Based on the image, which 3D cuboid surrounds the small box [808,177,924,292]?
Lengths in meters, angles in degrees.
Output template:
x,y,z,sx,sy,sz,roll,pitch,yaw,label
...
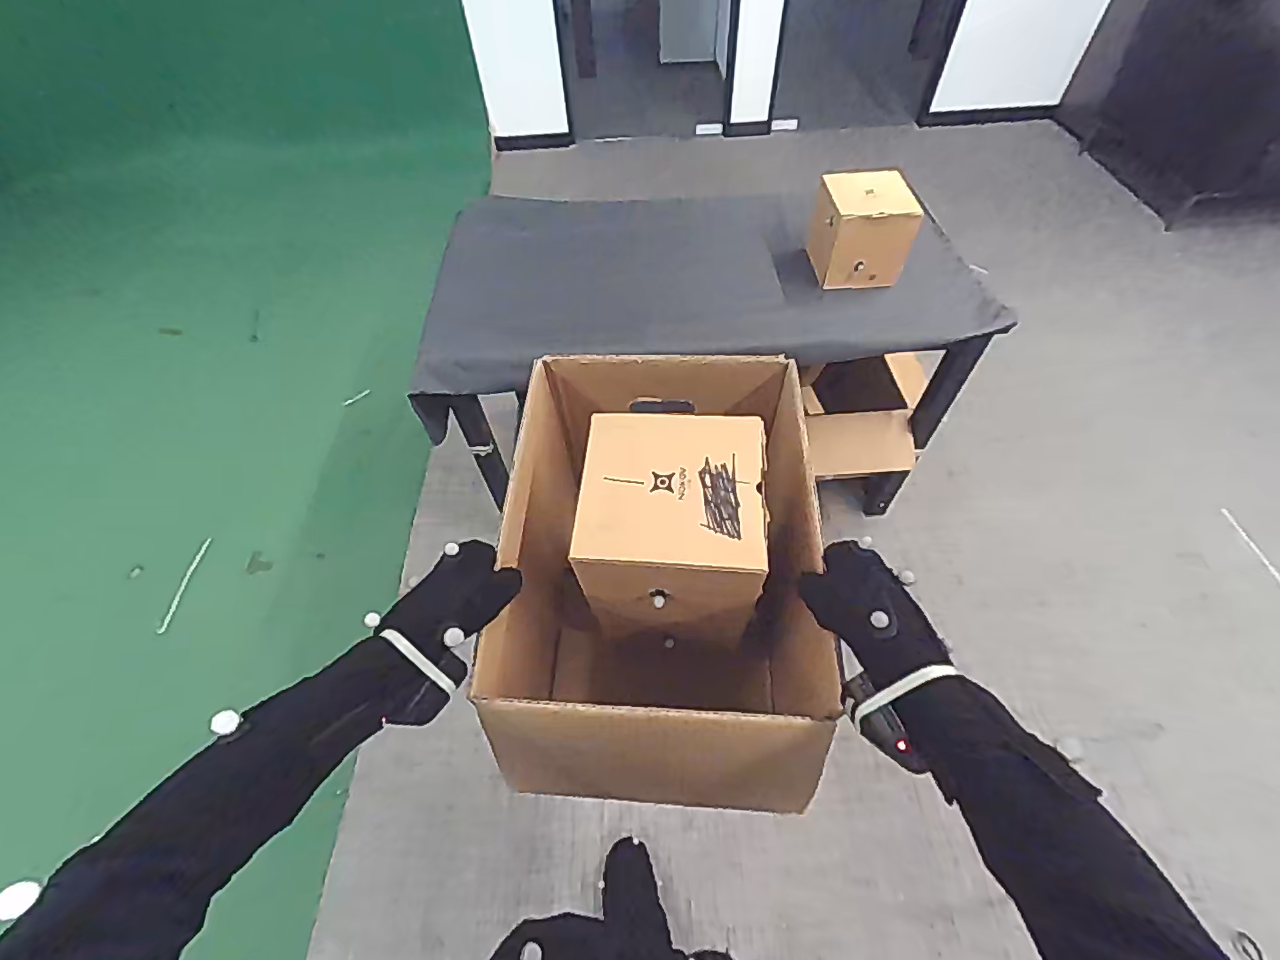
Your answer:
x,y,z,sx,sy,sz,roll,pitch,yaw,label
0.478,-0.533,1.177,0.168,0.176,0.179,-3,54,0,small box
